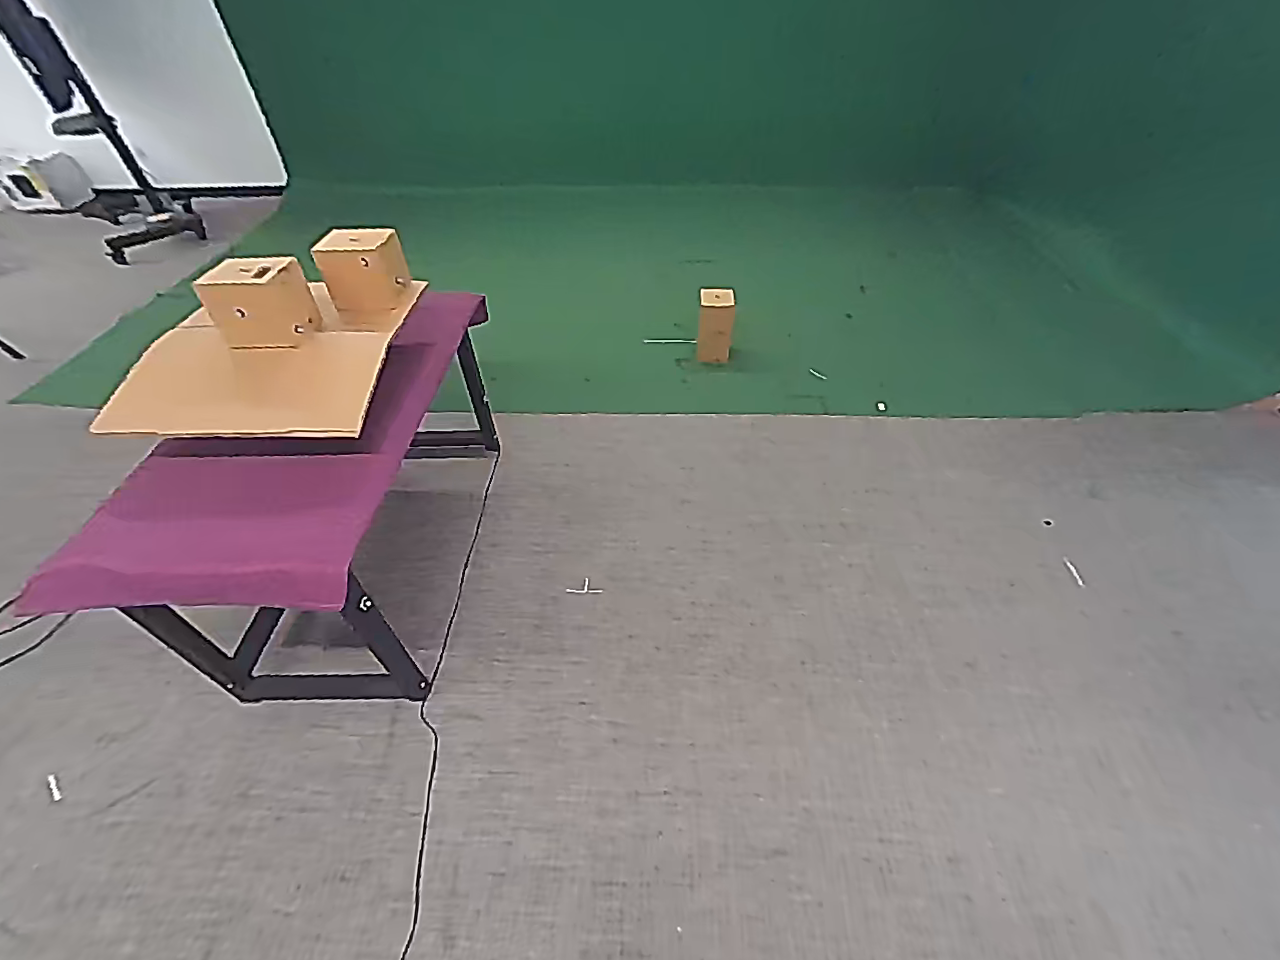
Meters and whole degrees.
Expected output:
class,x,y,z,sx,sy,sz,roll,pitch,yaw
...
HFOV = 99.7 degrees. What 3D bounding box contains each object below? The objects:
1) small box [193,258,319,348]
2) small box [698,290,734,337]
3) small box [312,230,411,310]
class,x,y,z,sx,sy,sz,roll,pitch,yaw
small box,-0.960,-0.449,1.375,0.179,0.176,0.168,-2,42,0
small box,0.386,-0.856,2.770,0.168,0.176,0.179,2,46,4
small box,-0.780,-0.594,1.532,0.179,0.176,0.168,-1,43,-1
